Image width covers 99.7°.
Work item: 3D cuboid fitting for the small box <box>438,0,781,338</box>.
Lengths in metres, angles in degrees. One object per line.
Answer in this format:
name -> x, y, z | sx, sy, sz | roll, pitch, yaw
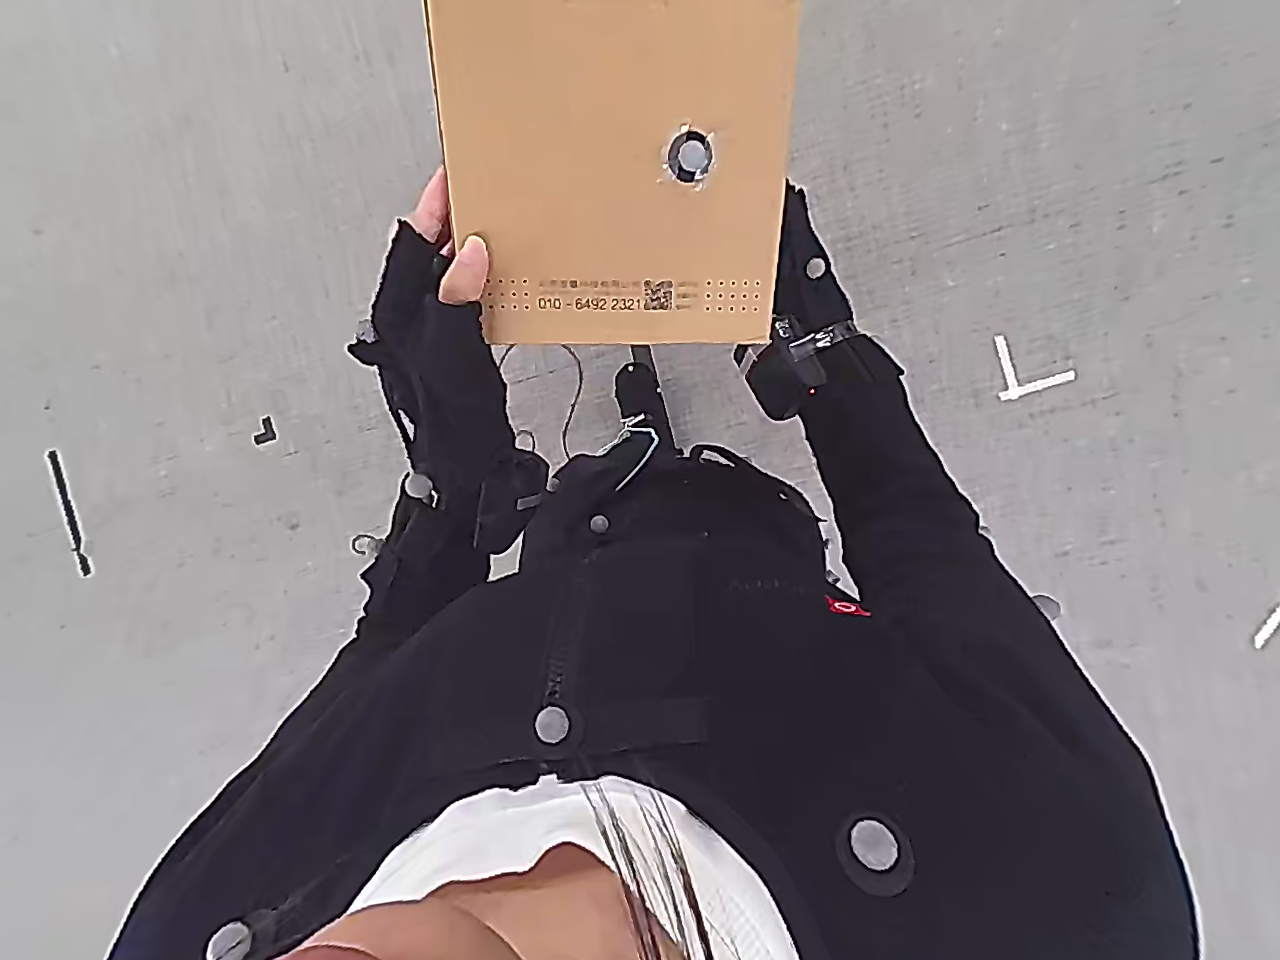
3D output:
small box -> -0.012, -0.191, 0.357 | 0.168, 0.179, 0.176 | 1, 114, 0
